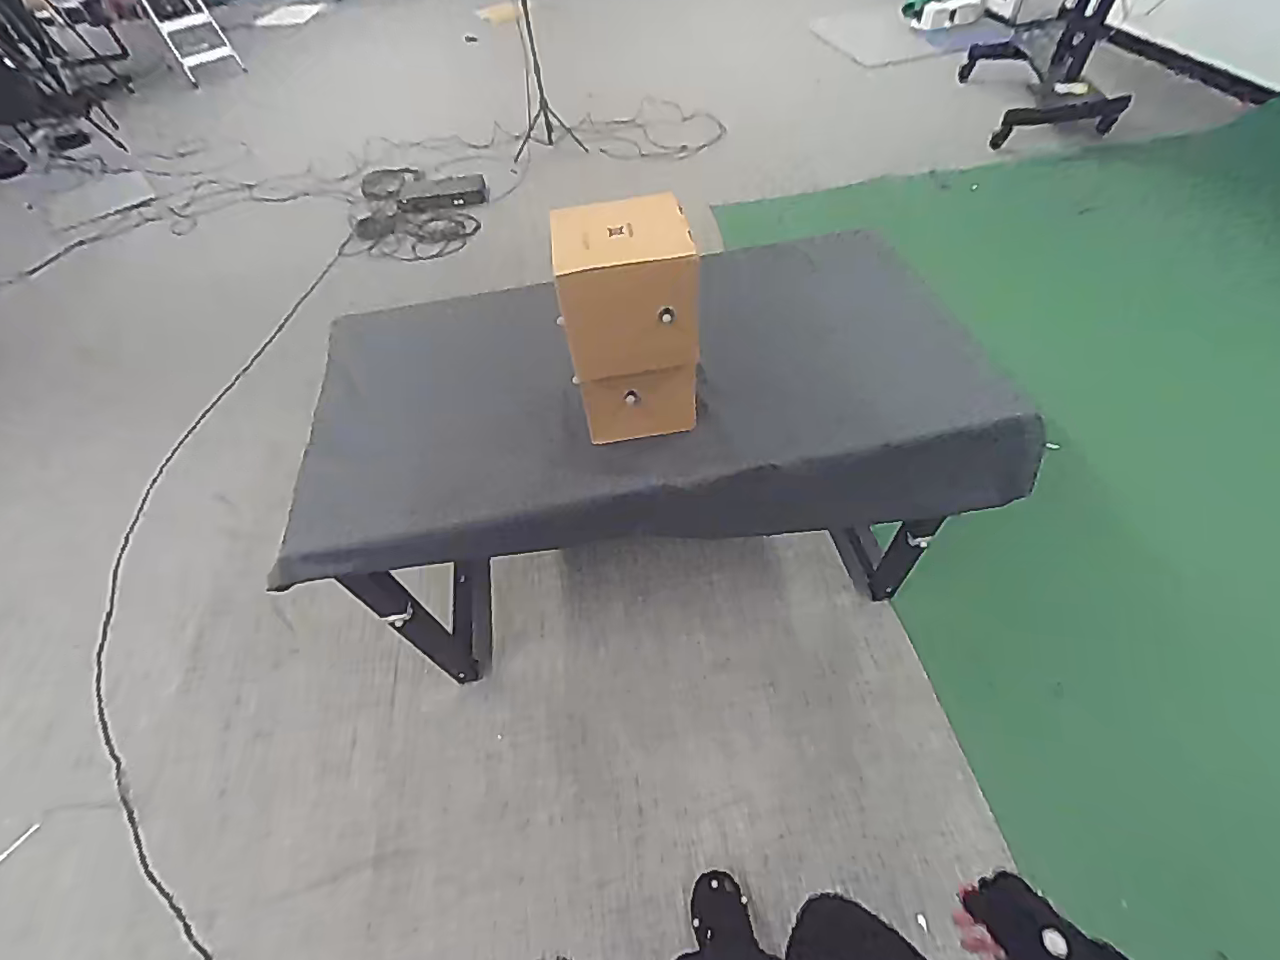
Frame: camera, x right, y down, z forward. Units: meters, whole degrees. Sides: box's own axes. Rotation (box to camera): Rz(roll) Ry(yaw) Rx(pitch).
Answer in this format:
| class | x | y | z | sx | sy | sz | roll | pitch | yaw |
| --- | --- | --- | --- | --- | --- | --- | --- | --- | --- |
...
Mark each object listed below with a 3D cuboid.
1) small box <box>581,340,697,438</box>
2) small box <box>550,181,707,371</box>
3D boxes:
| class | x | y | z | sx | sy | sz | roll | pitch | yaw |
| --- | --- | --- | --- | --- | --- | --- | --- | --- | --- |
| small box | -0.007 | -0.189 | 0.899 | 0.179 | 0.176 | 0.168 | -11 | 52 | -4 |
| small box | -0.016 | -0.273 | 0.737 | 0.179 | 0.176 | 0.168 | -12 | 53 | -4 |
